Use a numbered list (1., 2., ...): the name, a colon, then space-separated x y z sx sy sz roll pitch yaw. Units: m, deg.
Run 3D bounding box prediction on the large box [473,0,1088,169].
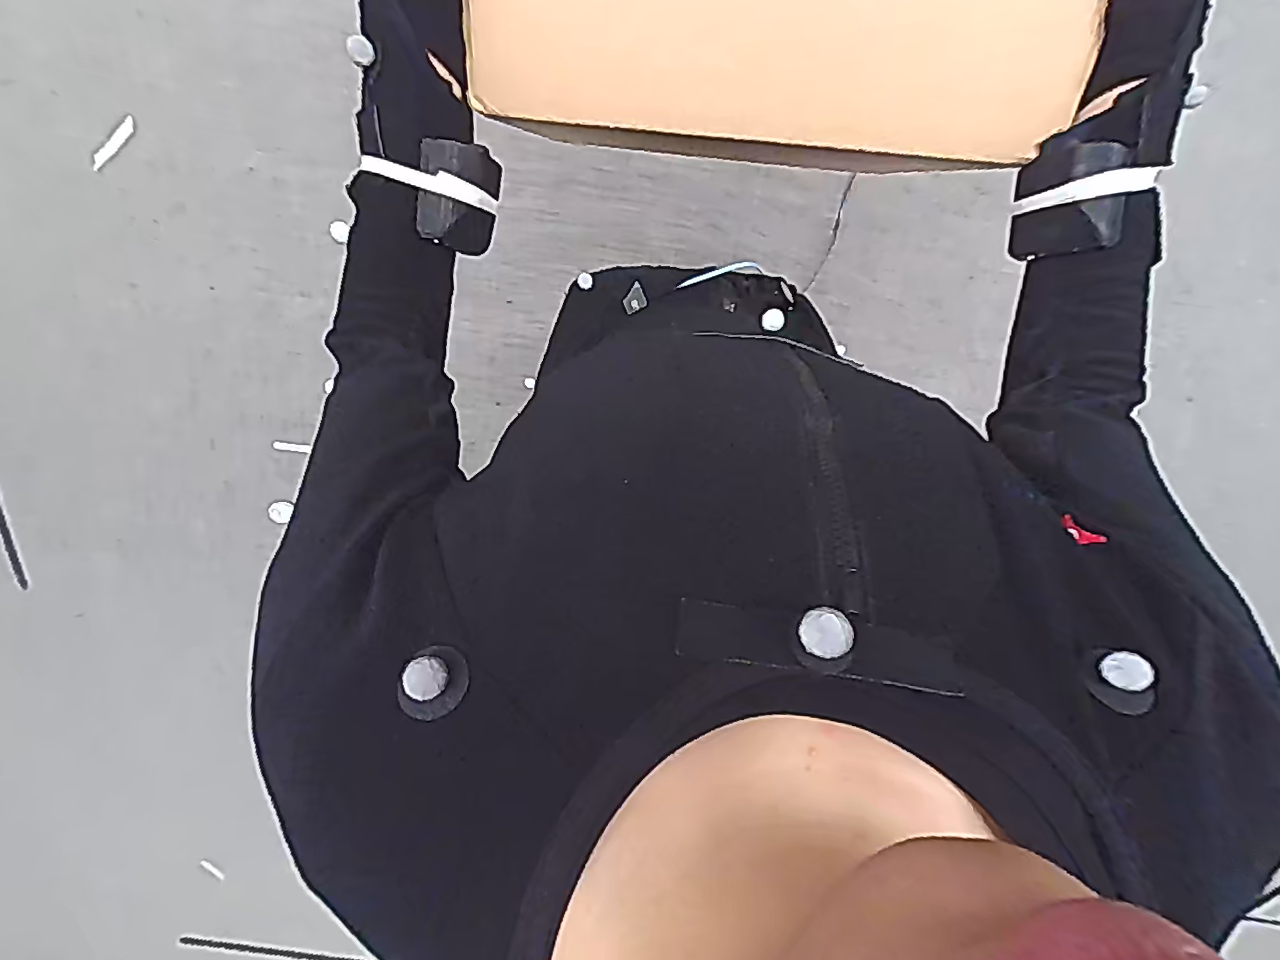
1. large box: 0.095 -0.448 0.442 0.408 0.320 0.320 5 120 -2
